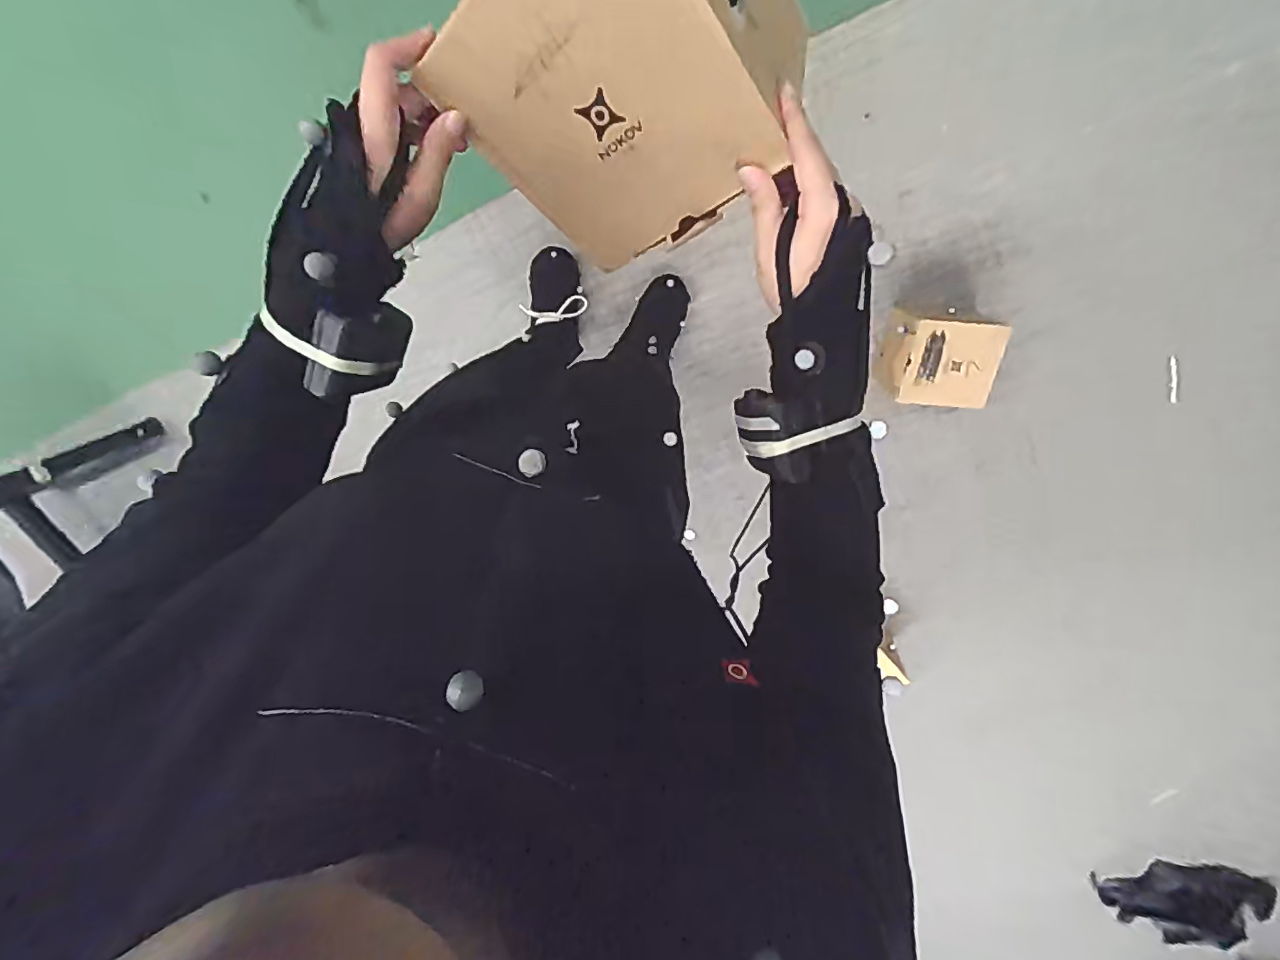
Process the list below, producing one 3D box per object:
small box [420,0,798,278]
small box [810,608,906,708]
[{"bbox_3d":[-0.005,-0.283,0.365,0.168,0.176,0.179,-15,143,40],"label":"small box"},{"bbox_3d":[0.598,0.491,1.506,0.179,0.176,0.168,-37,106,24],"label":"small box"}]
